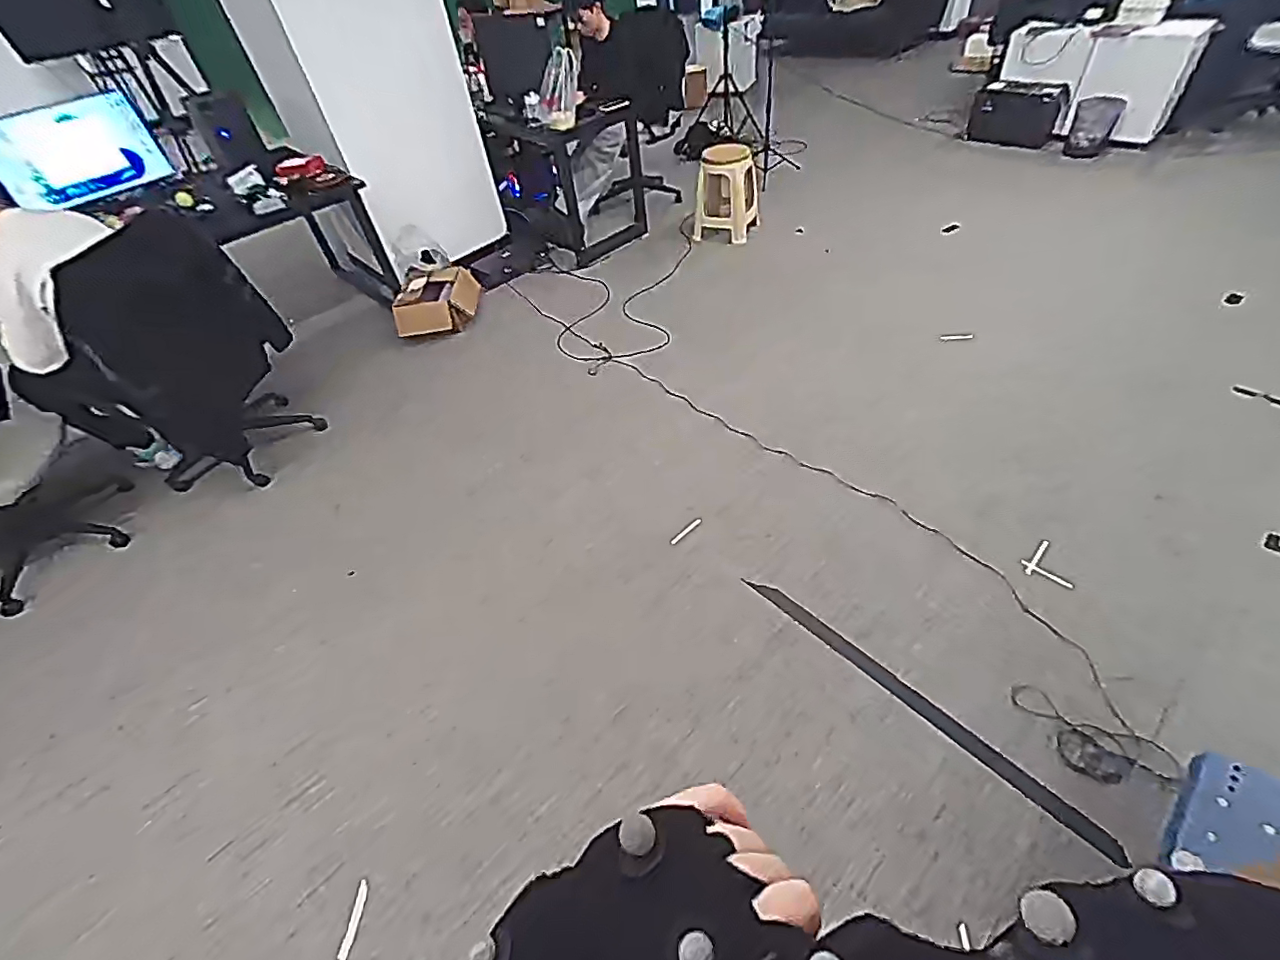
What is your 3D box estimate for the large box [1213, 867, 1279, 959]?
[{"bbox_3d":[1.101,0.780,0.700,0.408,0.320,0.320,22,55,26],"label":"large box"}]
